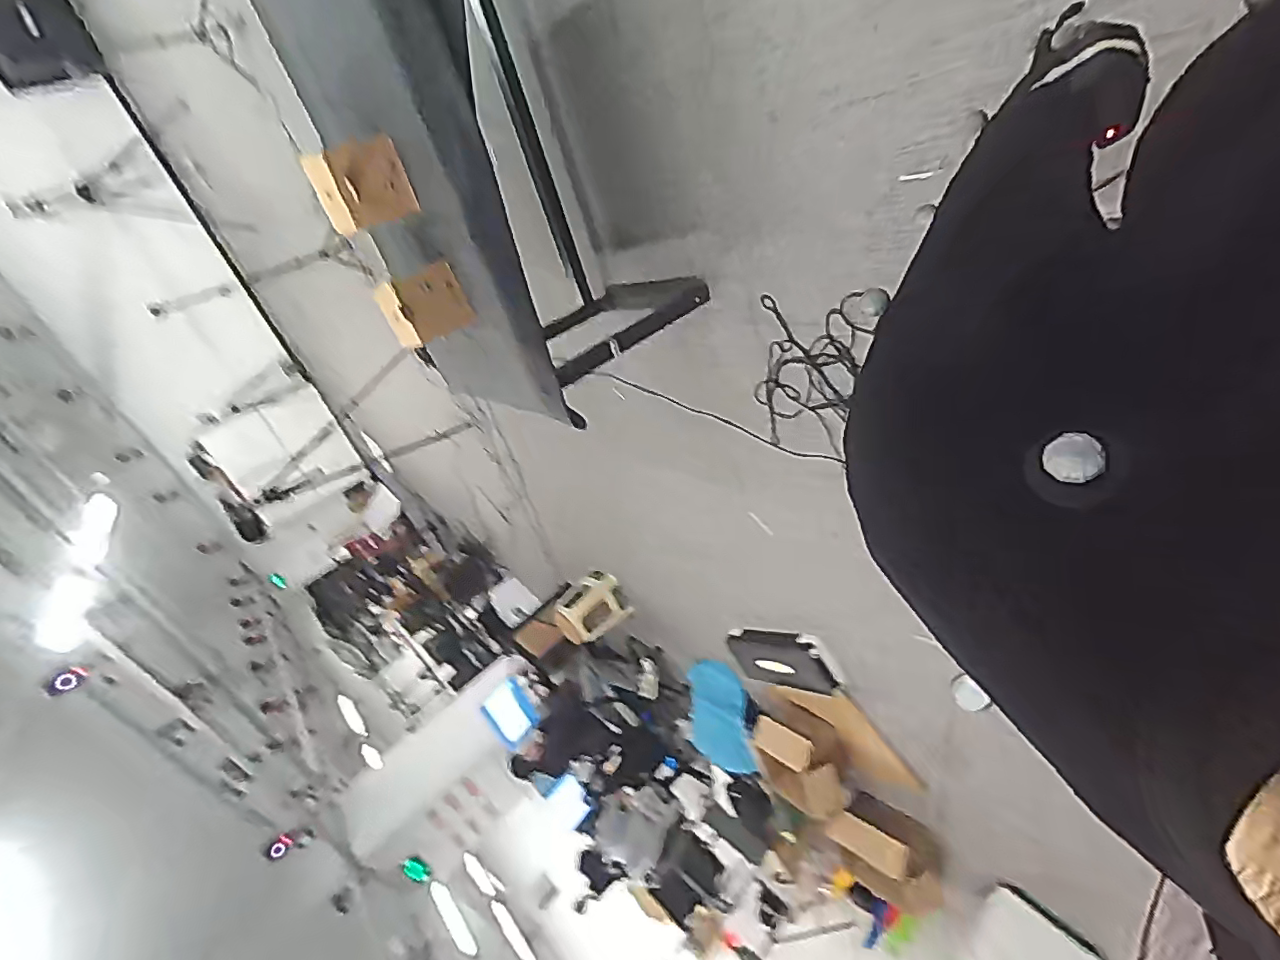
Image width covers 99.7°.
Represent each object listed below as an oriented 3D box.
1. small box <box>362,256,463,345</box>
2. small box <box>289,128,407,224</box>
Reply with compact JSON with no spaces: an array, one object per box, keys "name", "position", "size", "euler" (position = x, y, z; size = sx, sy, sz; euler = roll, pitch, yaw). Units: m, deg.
[{"name":"small box","position":[-0.591,-0.470,1.420],"size":[0.179,0.176,0.168],"euler":[11,129,52]},{"name":"small box","position":[-0.687,-0.719,1.285],"size":[0.179,0.176,0.168],"euler":[23,139,41]}]
